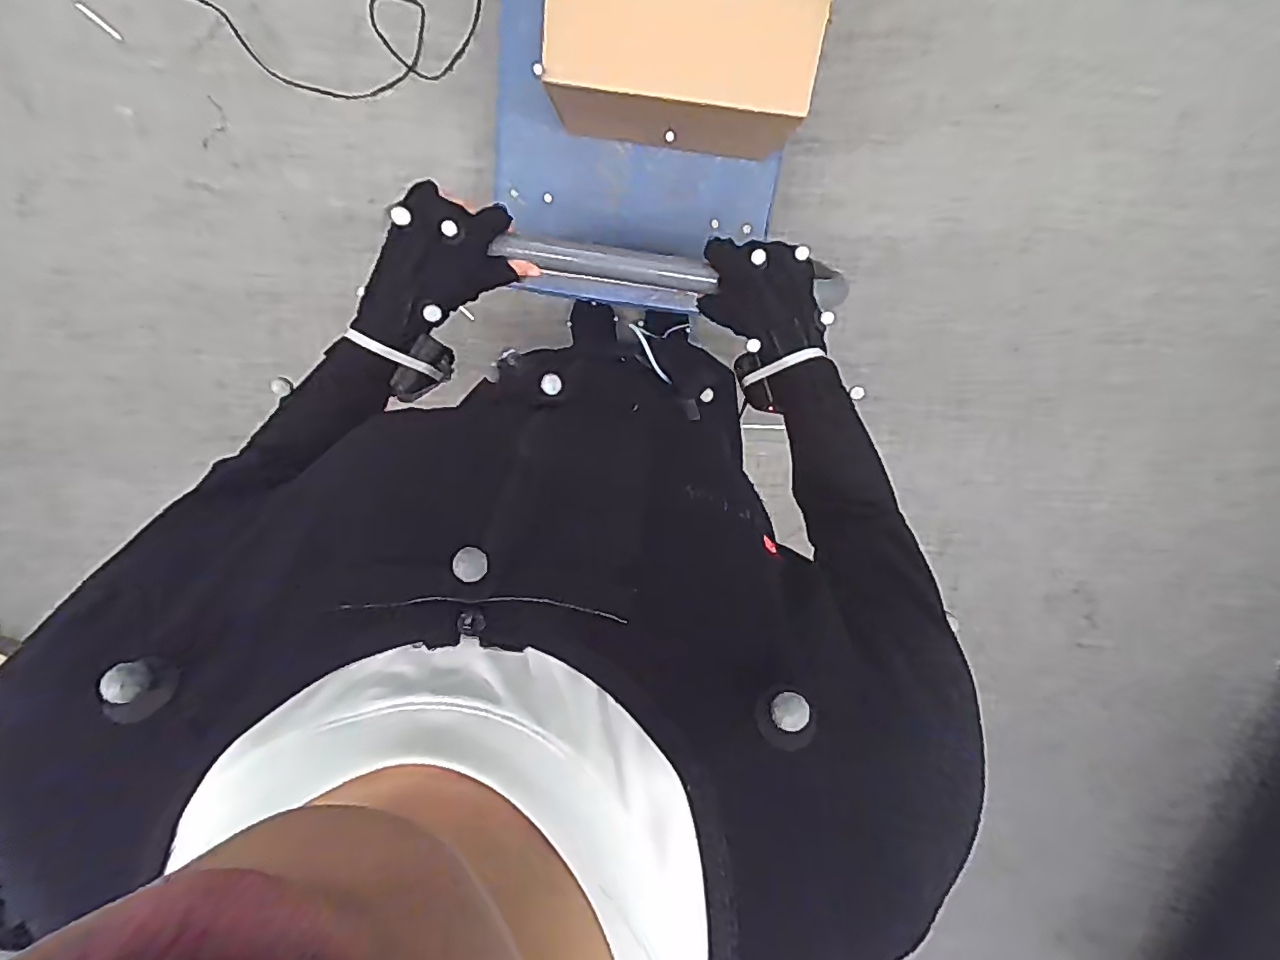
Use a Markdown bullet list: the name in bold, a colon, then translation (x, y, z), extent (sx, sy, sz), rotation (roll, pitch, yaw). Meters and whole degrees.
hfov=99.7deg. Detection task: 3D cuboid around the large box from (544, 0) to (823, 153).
- **large box**: translation (0.073, -0.770, 0.907), extent (0.408, 0.320, 0.320), rotation (7, 110, -1)
